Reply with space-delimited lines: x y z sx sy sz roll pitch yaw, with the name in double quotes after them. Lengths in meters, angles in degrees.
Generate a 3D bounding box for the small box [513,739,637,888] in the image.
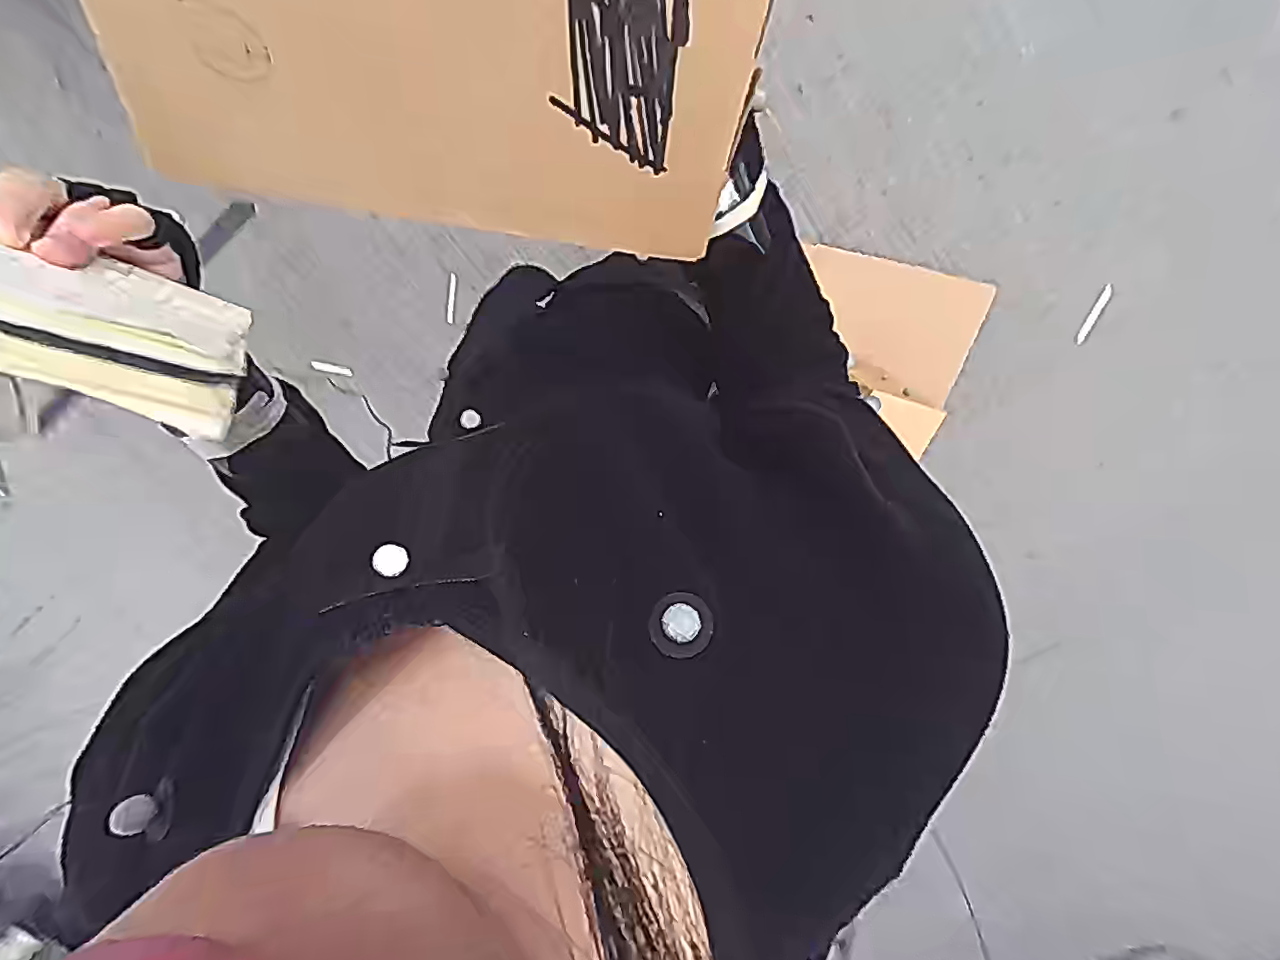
-0.118 0.657 1.076 0.168 0.176 0.179 -33 109 16 "small box"

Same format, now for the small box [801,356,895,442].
0.517 -0.186 1.347 0.168 0.176 0.179 15 118 -5 "small box"

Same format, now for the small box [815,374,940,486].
0.512 -0.117 1.199 0.168 0.176 0.179 16 117 -6 "small box"
